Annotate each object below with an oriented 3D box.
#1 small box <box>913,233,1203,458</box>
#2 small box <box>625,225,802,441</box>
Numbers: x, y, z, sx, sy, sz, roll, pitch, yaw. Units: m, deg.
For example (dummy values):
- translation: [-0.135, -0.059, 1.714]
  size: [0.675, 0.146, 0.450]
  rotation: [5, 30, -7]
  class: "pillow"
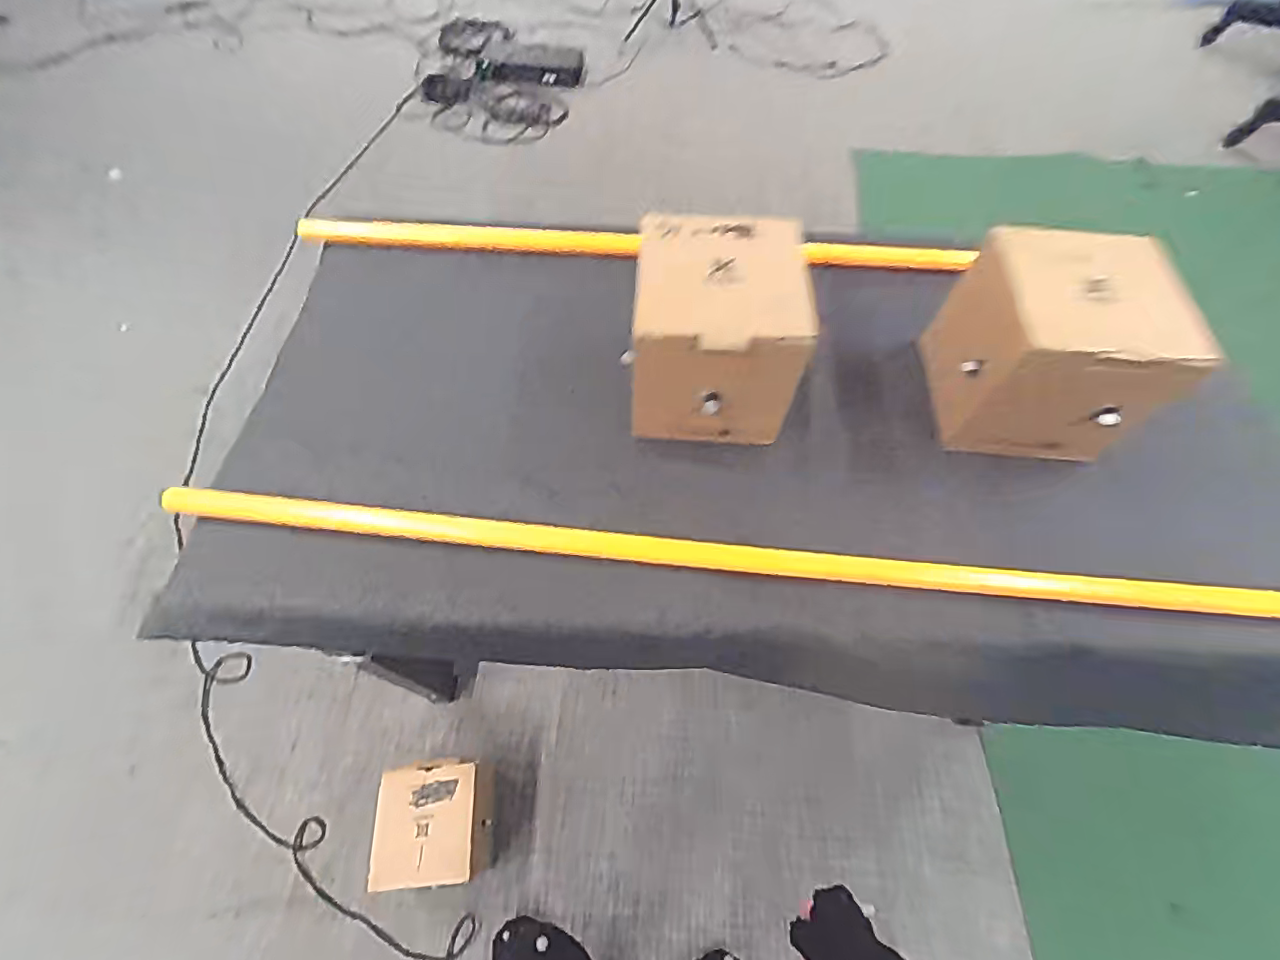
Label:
- translation: [0.431, -0.141, 0.598]
  size: [0.168, 0.176, 0.179]
  rotation: [5, 58, 1]
  class: "small box"
- translation: [0.071, -0.156, 0.606]
  size: [0.168, 0.176, 0.179]
  rotation: [-1, 59, 1]
  class: "small box"
